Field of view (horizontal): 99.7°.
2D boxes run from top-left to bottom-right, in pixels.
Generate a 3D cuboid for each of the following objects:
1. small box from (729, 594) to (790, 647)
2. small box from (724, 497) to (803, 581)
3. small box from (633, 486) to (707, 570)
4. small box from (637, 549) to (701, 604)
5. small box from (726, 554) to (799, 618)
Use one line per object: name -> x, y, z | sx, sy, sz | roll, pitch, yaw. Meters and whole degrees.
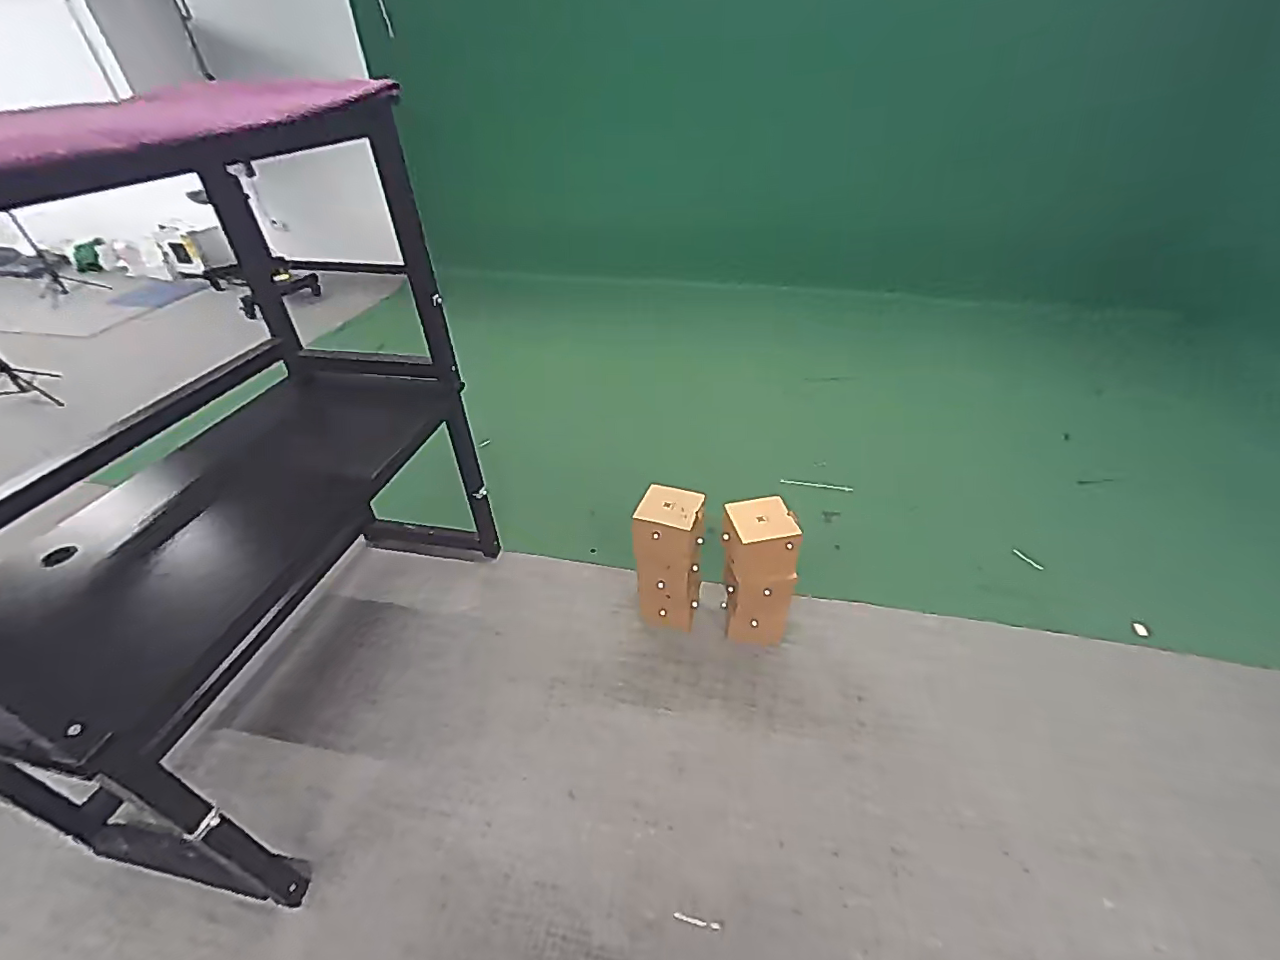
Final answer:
small box -> 0.383, 0.427, 1.769 | 0.179, 0.176, 0.168 | 2, 39, 4
small box -> 0.348, 0.174, 1.566 | 0.179, 0.176, 0.168 | -8, 40, -9
small box -> 0.091, 0.143, 1.609 | 0.179, 0.176, 0.168 | 12, 41, 18
small box -> 0.098, 0.267, 1.721 | 0.168, 0.176, 0.179 | 10, 40, 16
small box -> 0.368, 0.306, 1.662 | 0.179, 0.176, 0.168 | -5, 40, -6
